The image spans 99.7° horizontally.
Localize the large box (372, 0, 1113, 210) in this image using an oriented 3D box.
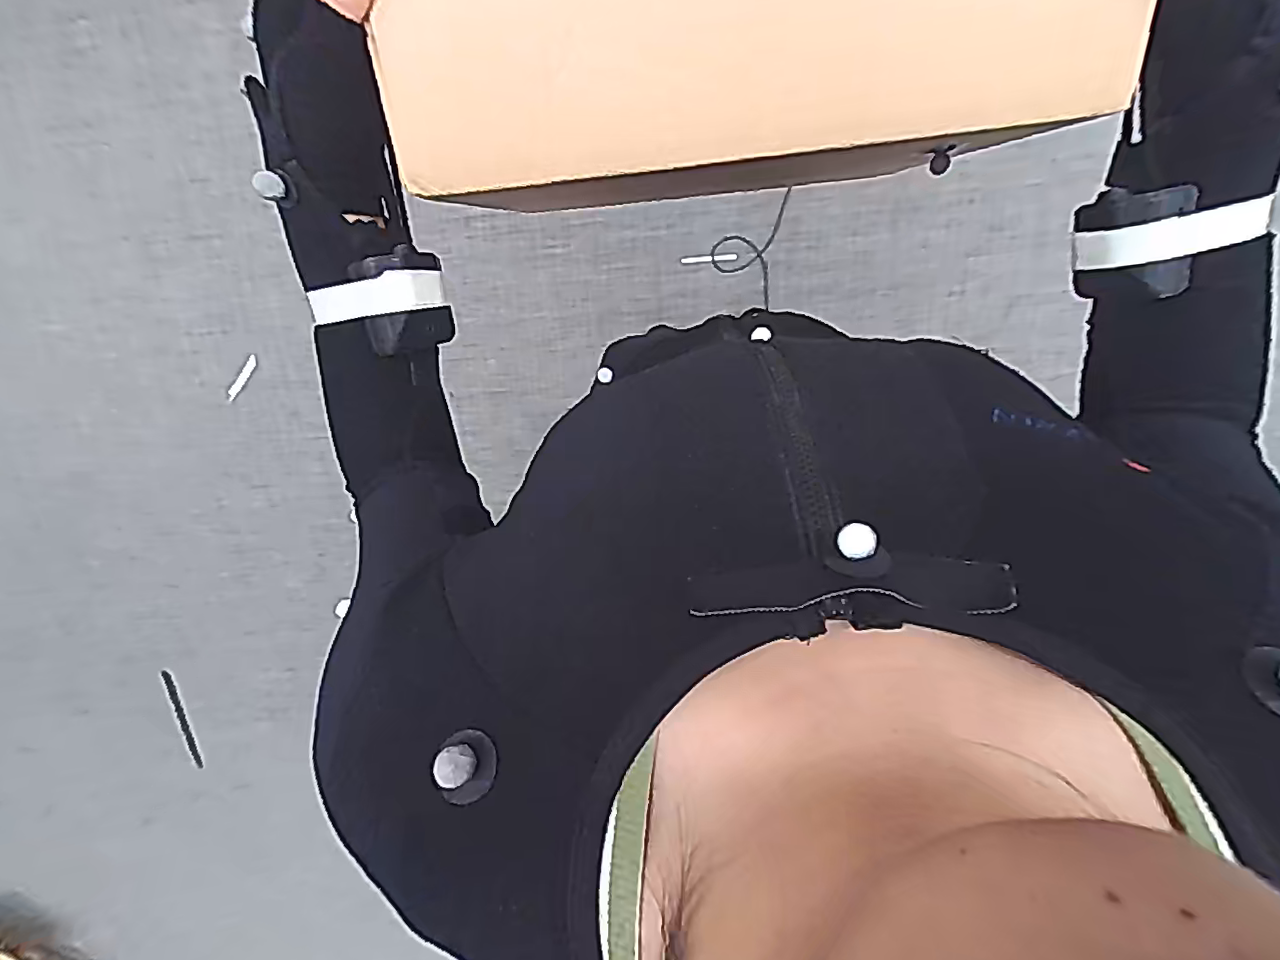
[{"bbox_3d":[0.051,-0.392,0.393,0.408,0.320,0.320,-4,114,4],"label":"large box"}]
